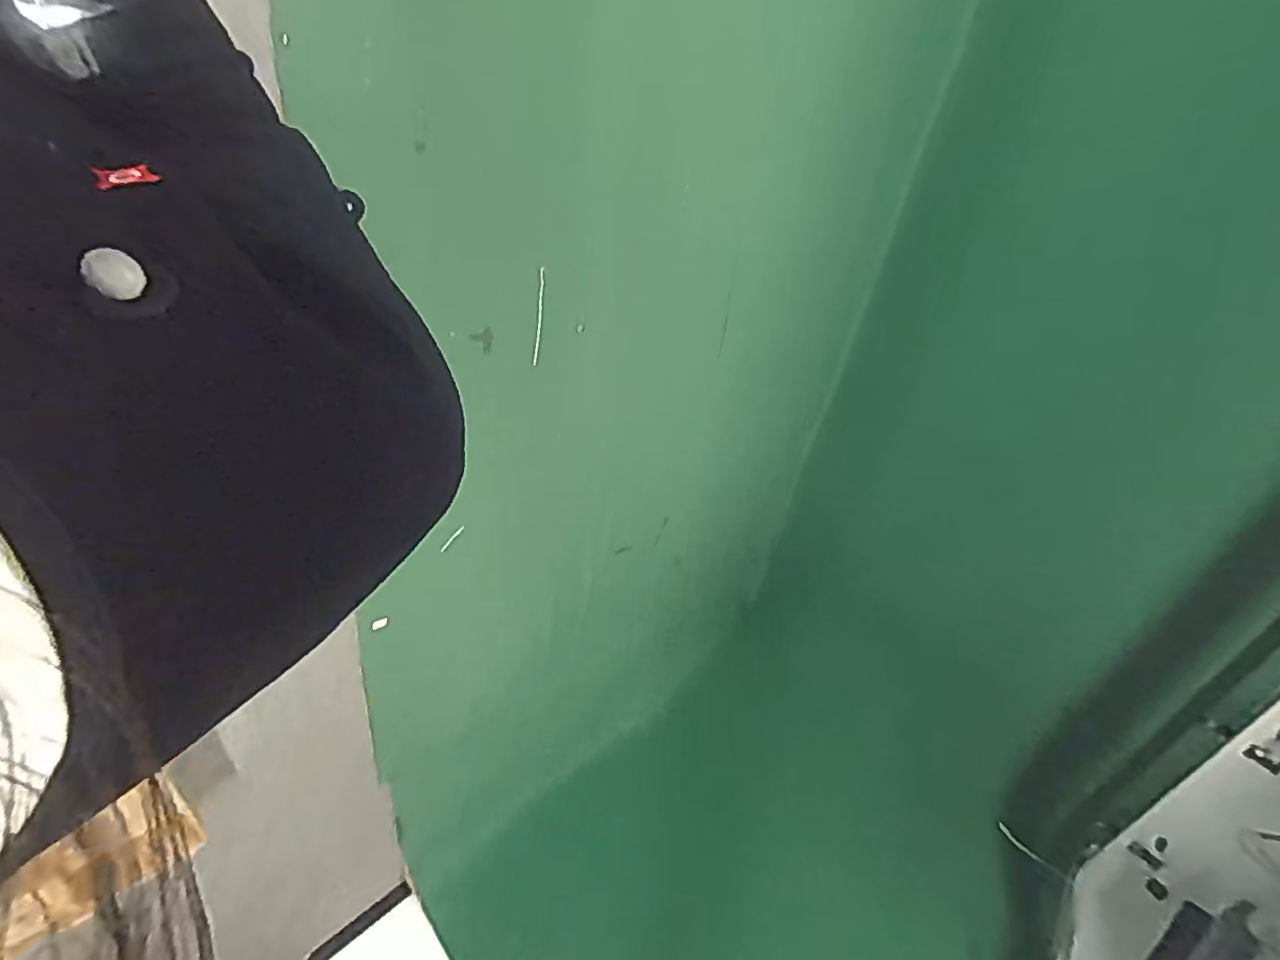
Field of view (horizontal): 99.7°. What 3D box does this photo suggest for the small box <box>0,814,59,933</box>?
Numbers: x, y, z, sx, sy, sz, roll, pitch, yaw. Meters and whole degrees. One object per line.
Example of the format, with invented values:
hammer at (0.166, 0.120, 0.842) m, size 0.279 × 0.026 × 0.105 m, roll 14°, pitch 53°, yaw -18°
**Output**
small box at (-1.532, 0.951, 1.280) m, size 0.179 × 0.176 × 0.168 m, roll -20°, pitch 133°, yaw -46°
